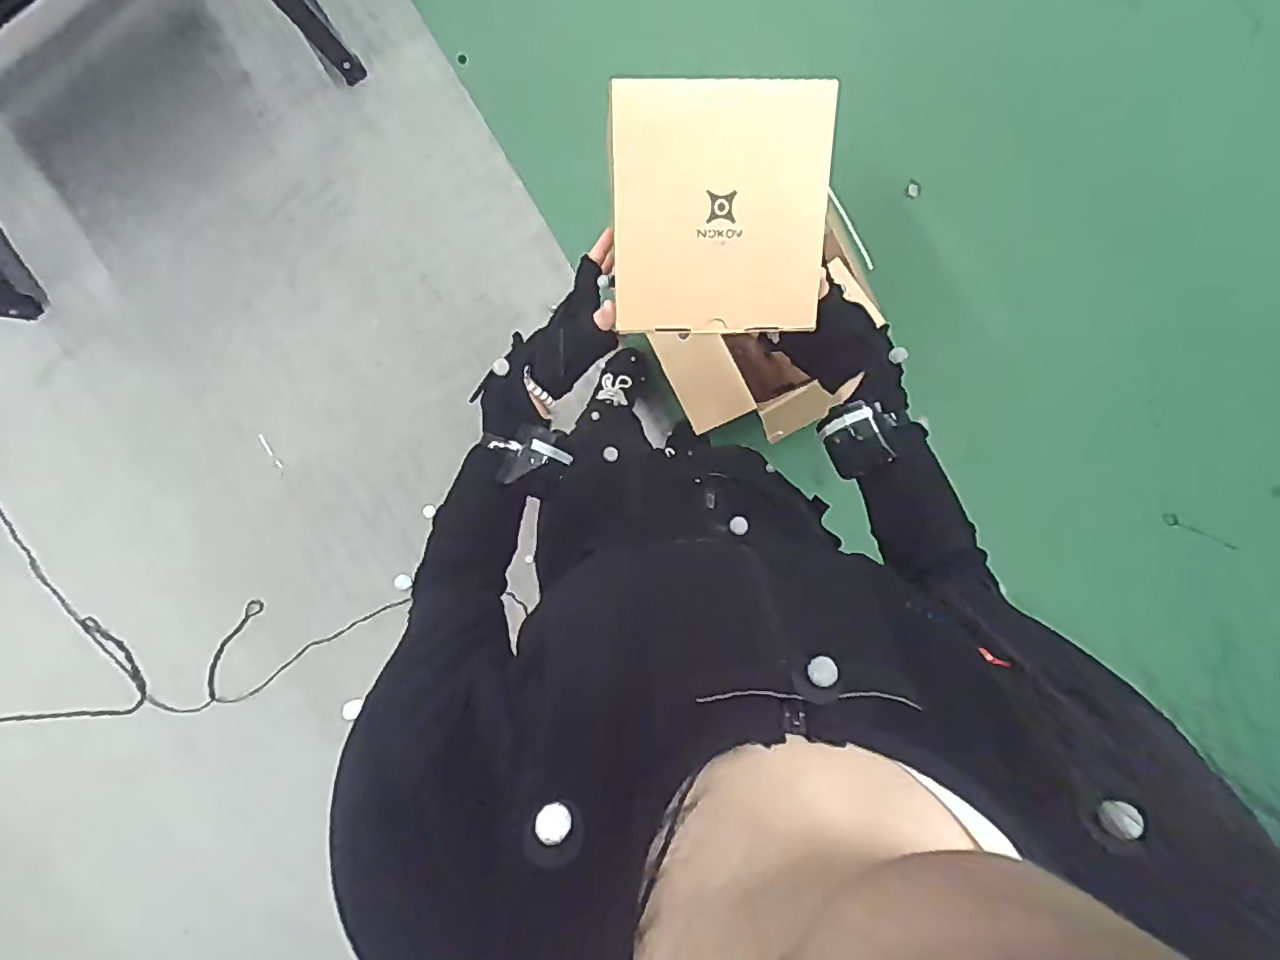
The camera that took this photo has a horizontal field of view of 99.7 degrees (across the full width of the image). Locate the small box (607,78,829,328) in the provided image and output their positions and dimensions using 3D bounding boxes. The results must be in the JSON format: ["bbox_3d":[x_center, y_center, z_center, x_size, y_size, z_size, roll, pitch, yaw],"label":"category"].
[{"bbox_3d":[0.054,-0.235,0.497,0.168,0.176,0.179,-1,110,-3],"label":"small box"}]
